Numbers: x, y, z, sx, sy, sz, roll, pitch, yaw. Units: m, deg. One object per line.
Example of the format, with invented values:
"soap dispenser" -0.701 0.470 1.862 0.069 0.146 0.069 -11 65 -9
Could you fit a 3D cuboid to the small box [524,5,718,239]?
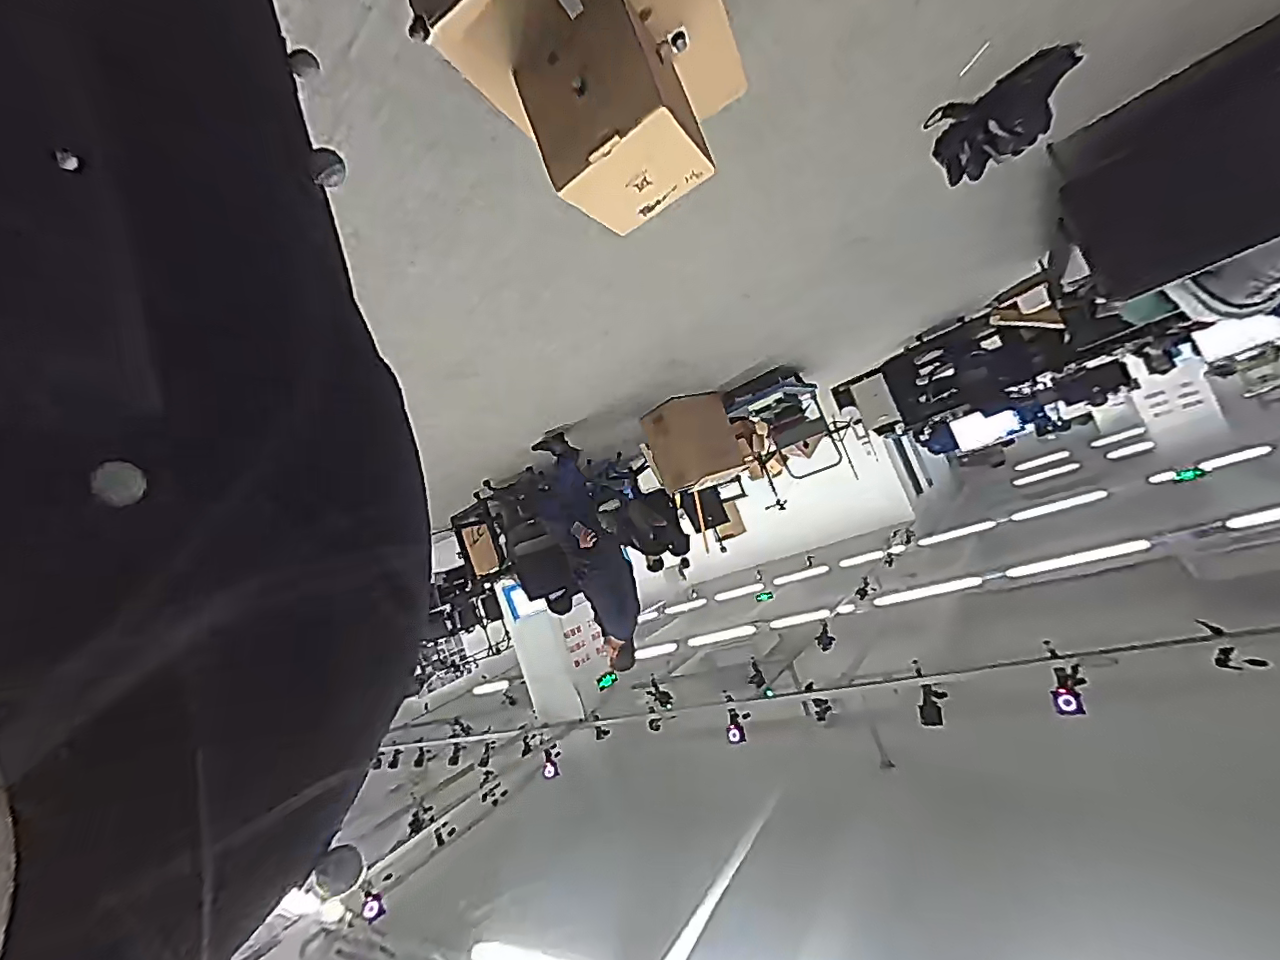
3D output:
"small box" -0.024 -0.464 0.717 0.168 0.176 0.179 -23 173 28
